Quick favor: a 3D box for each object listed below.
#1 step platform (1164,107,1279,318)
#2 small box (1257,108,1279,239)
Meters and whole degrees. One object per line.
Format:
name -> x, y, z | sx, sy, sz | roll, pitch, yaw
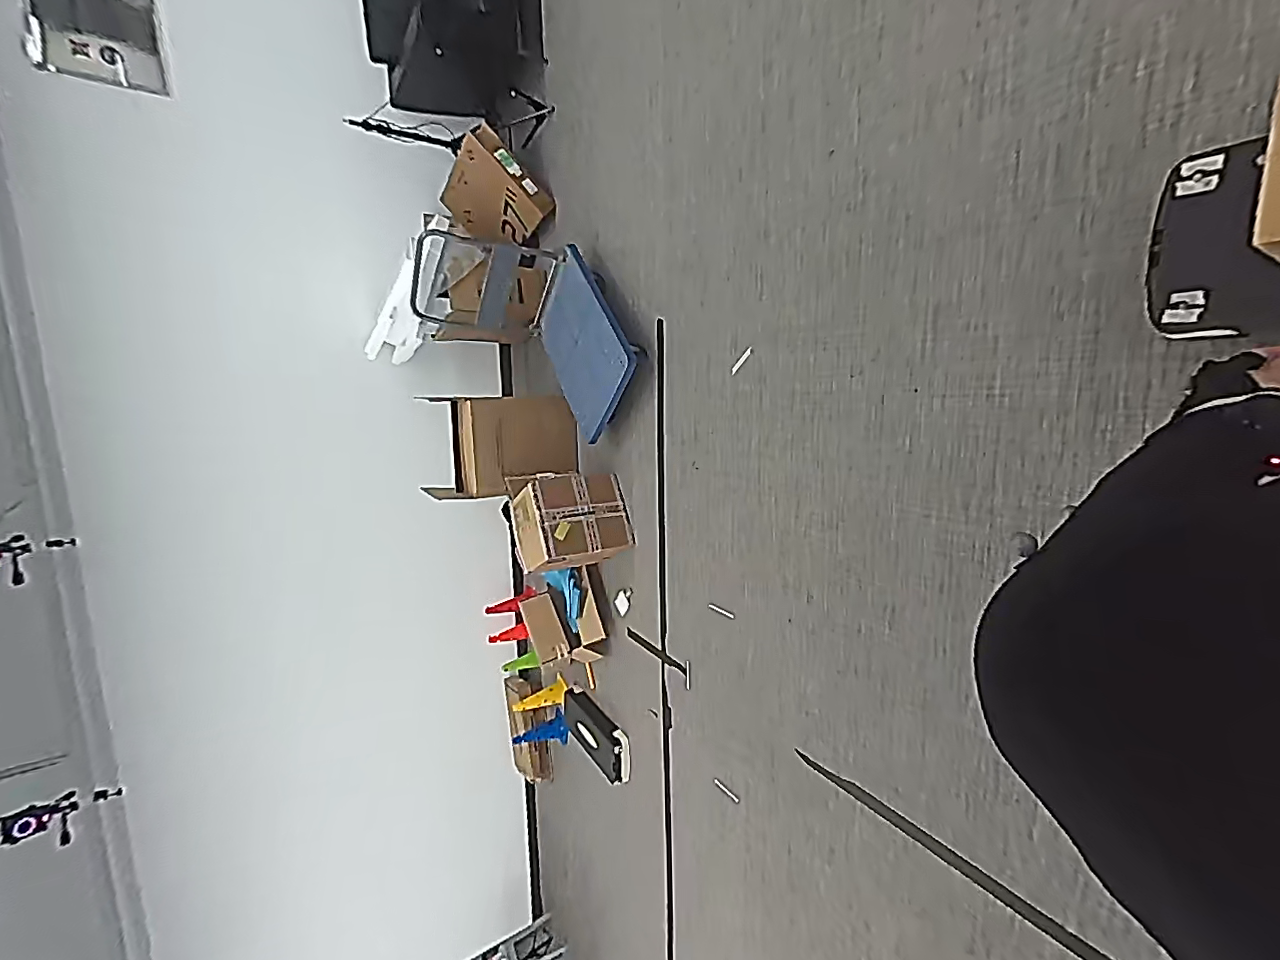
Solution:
step platform -> 1.116, -0.386, 0.659 | 0.684, 0.204, 0.286 | 12, 106, 57
small box -> 0.786, -0.349, 0.554 | 0.168, 0.176, 0.179 | 14, 108, 56
